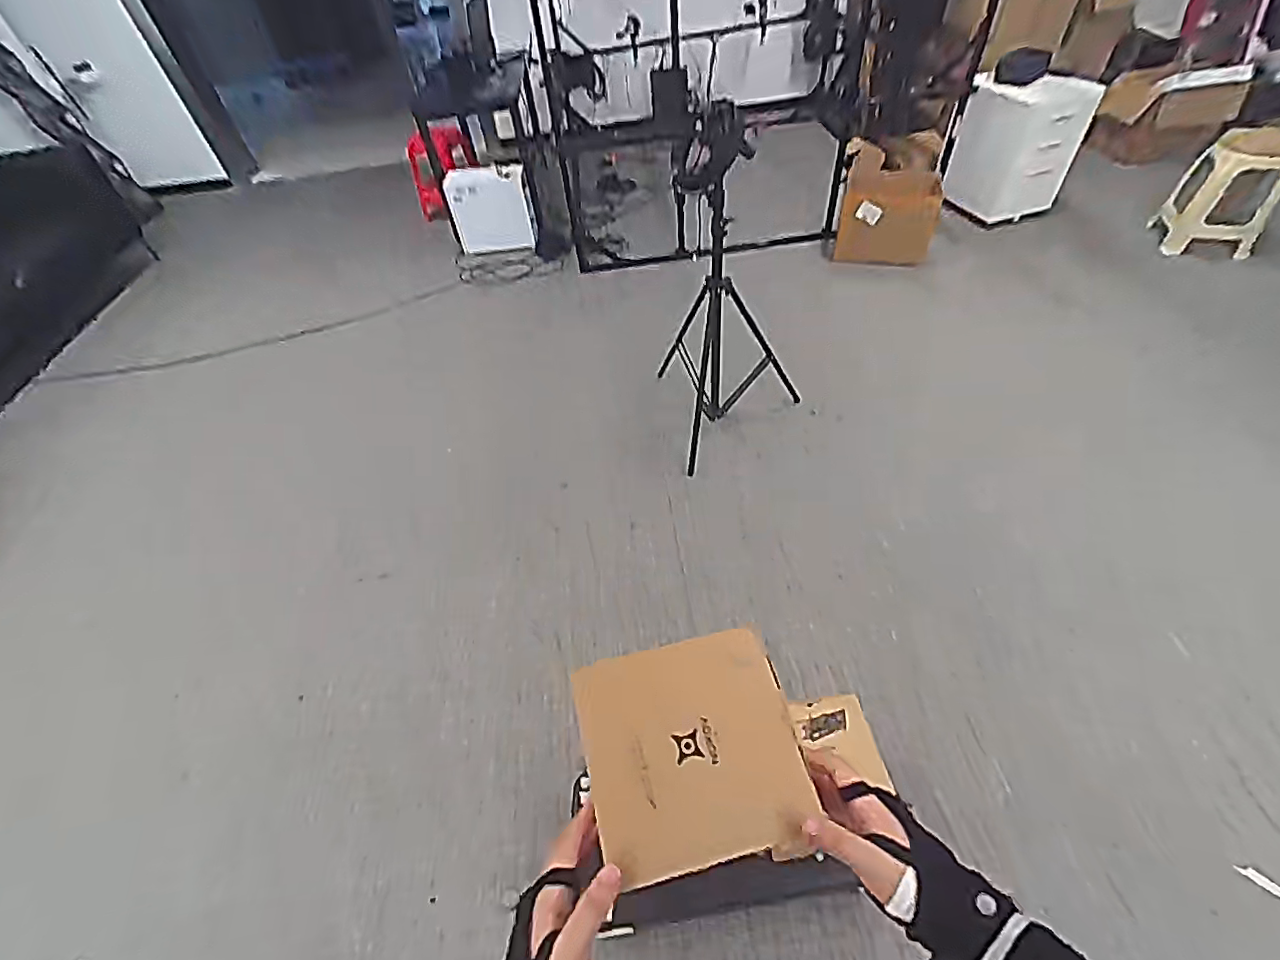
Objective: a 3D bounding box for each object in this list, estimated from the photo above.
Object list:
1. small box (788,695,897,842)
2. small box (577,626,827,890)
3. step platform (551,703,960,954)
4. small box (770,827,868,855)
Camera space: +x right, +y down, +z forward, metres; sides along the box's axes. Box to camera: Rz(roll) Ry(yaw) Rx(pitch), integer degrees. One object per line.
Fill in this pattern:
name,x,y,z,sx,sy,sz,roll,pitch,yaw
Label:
small box,0.309,0.502,0.940,0.168,0.176,0.179,-11,49,-1
small box,0.045,0.258,0.520,0.179,0.176,0.168,-13,61,-7
step platform,0.189,0.640,1.006,0.684,0.204,0.286,-9,48,-2
small box,0.317,0.615,1.059,0.168,0.176,0.179,-10,48,-1
